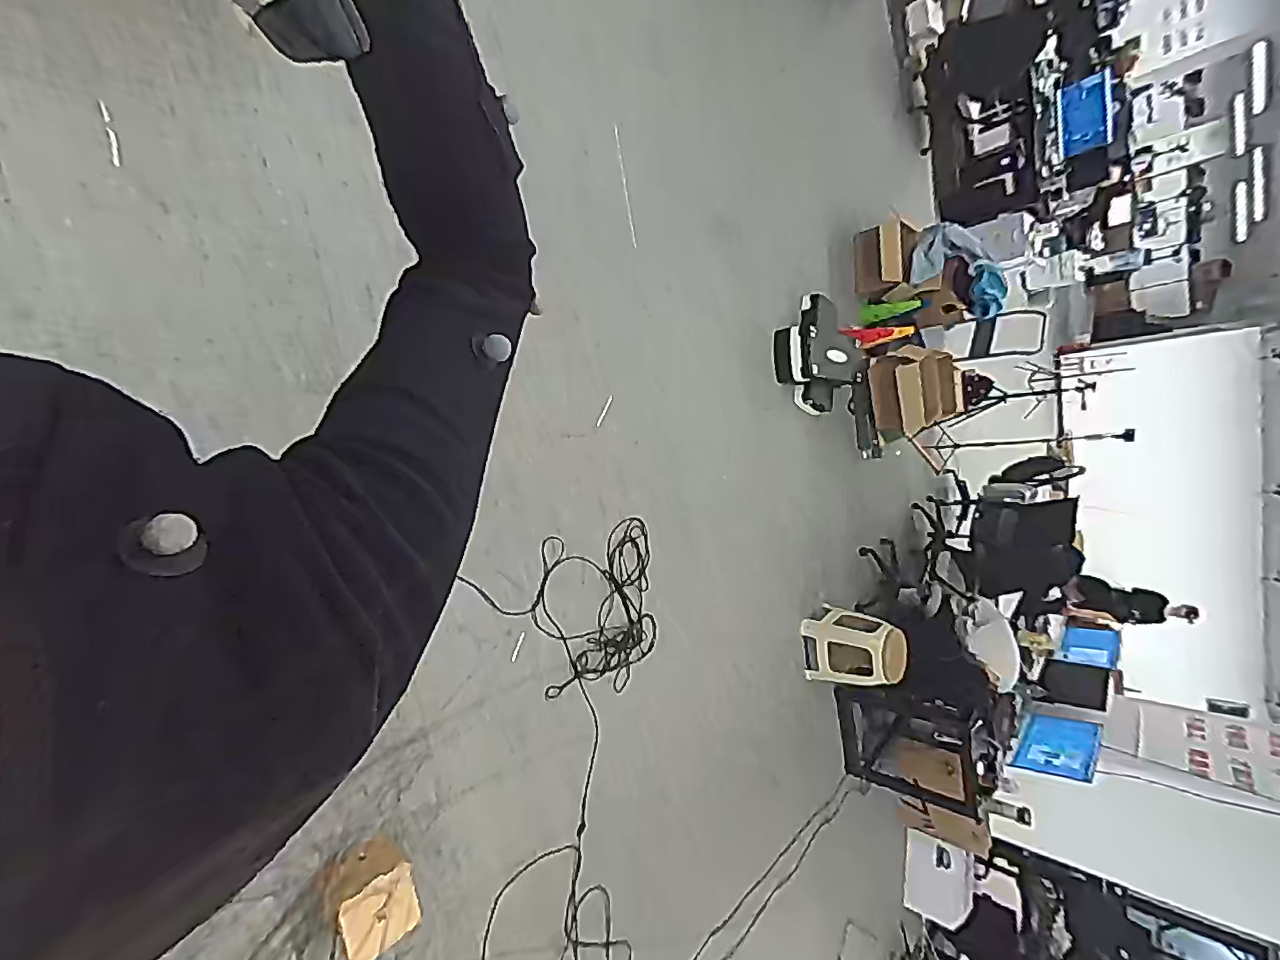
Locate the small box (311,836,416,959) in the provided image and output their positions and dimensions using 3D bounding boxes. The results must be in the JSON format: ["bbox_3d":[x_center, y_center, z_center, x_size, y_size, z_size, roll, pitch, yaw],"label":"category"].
[{"bbox_3d":[-0.673,1.020,1.313,0.168,0.176,0.179,-16,100,-45],"label":"small box"}]
